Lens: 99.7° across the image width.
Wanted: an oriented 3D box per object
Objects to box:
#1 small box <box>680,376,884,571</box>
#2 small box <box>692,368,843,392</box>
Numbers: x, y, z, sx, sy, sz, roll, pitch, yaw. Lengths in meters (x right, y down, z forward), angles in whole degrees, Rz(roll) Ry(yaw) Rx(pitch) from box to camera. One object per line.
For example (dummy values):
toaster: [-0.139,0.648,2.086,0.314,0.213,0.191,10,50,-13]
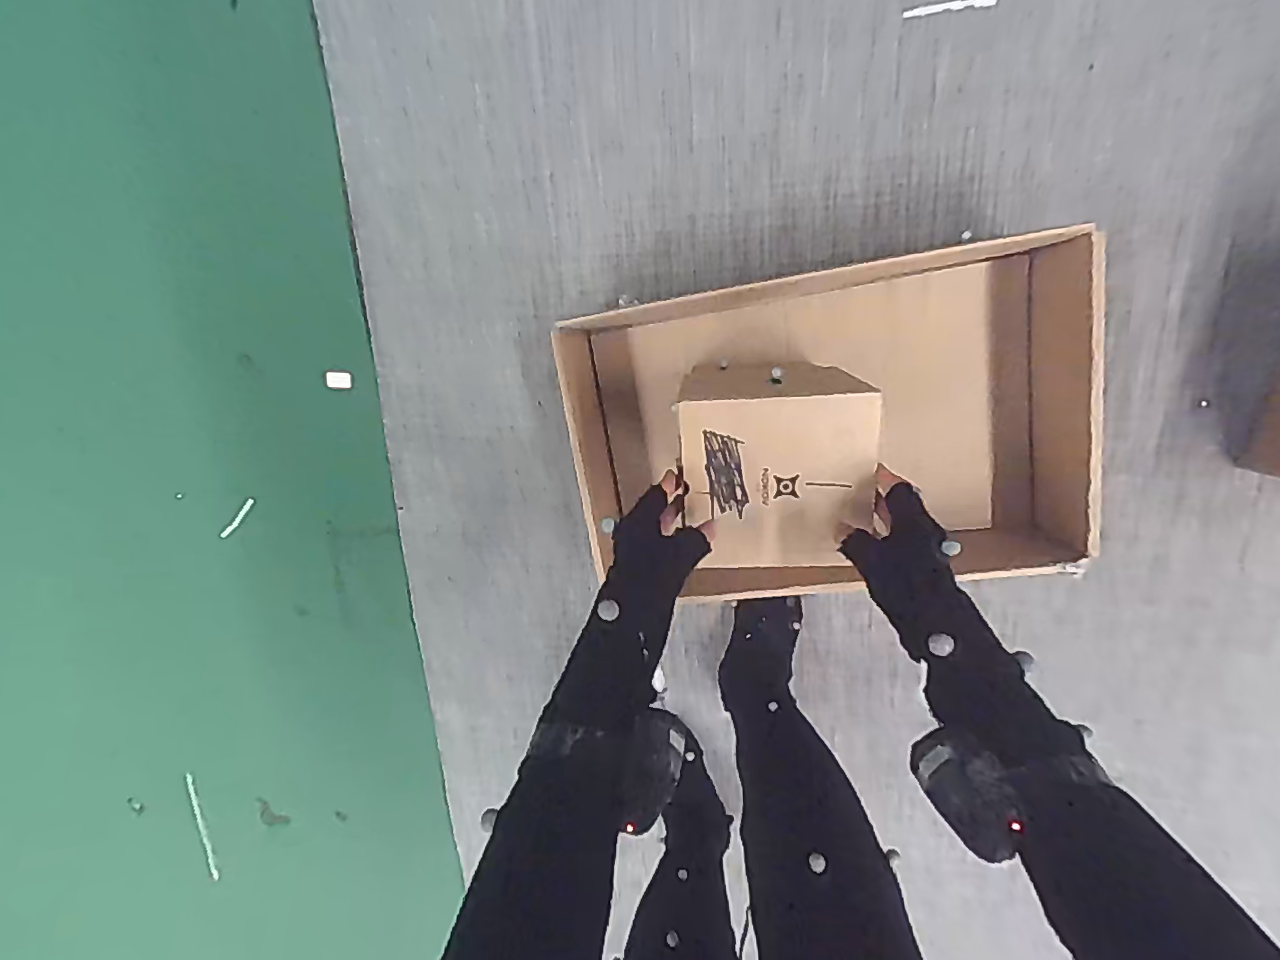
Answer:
small box: [0.137,-0.015,0.570,0.179,0.176,0.168,-2,108,7]
small box: [0.162,-0.061,0.730,0.179,0.176,0.168,-2,105,7]
